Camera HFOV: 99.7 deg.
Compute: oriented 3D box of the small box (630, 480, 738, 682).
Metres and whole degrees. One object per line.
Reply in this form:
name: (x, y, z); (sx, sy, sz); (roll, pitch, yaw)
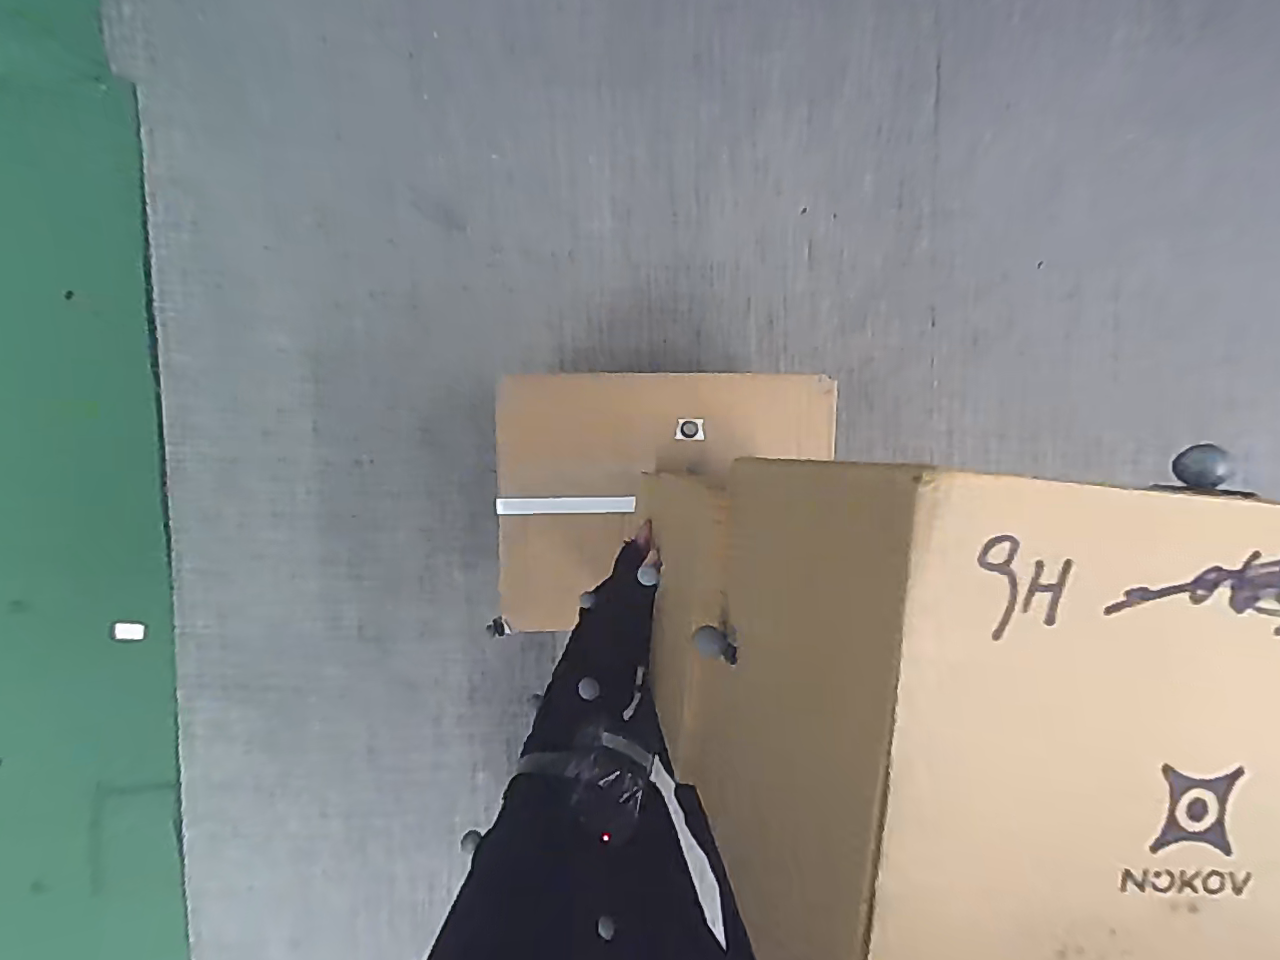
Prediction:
small box: (0.088, 0.092, 0.546); (0.179, 0.176, 0.168); (6, 94, -8)
